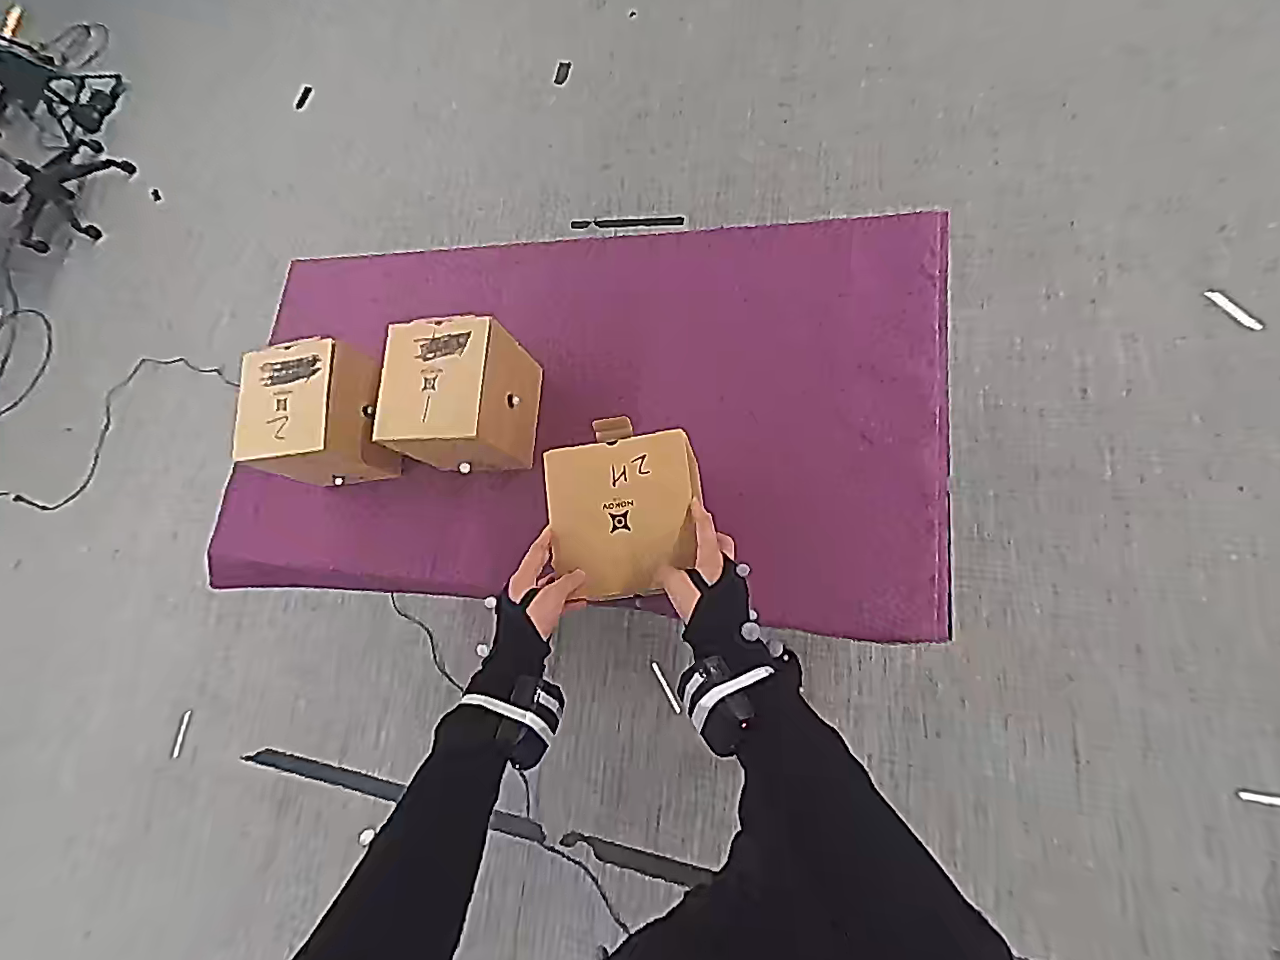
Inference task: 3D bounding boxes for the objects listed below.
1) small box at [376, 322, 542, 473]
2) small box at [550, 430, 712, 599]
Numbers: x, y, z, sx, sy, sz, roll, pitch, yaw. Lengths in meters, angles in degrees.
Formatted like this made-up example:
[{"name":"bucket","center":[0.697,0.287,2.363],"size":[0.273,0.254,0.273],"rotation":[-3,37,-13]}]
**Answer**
[{"name":"small box","center":[-0.261,-0.116,0.821],"size":[0.168,0.176,0.179],"rotation":[0,77,15]},{"name":"small box","center":[-0.004,0.053,0.685],"size":[0.168,0.176,0.179],"rotation":[-8,76,10]}]
